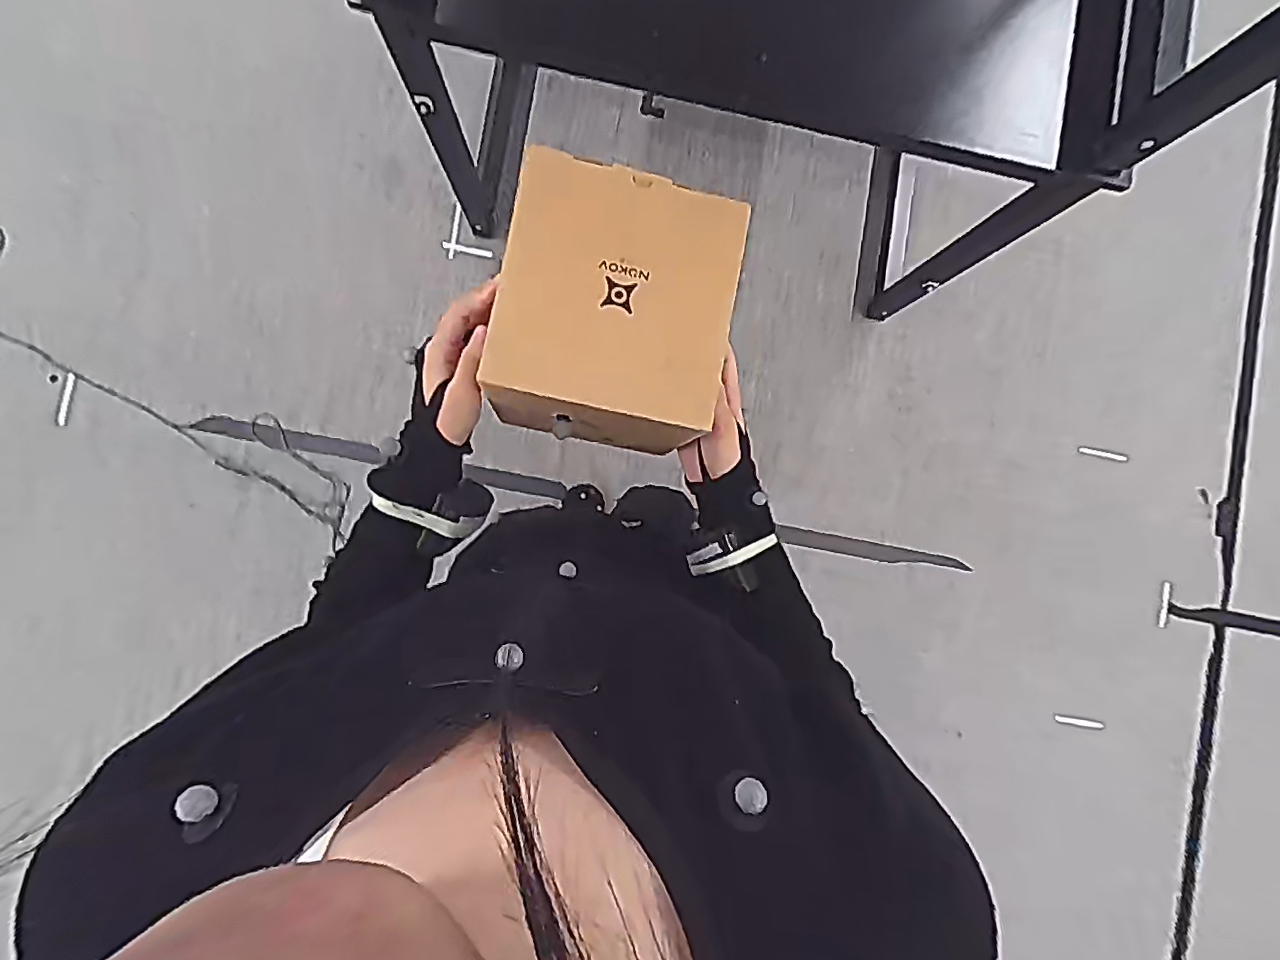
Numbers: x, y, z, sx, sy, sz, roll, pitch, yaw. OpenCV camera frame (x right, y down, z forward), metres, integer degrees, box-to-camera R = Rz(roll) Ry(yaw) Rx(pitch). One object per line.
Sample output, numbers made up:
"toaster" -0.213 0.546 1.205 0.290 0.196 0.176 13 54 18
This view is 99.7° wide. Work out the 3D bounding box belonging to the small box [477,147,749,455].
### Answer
"small box" -0.026 -0.126 0.456 0.168 0.176 0.179 12 83 -8
